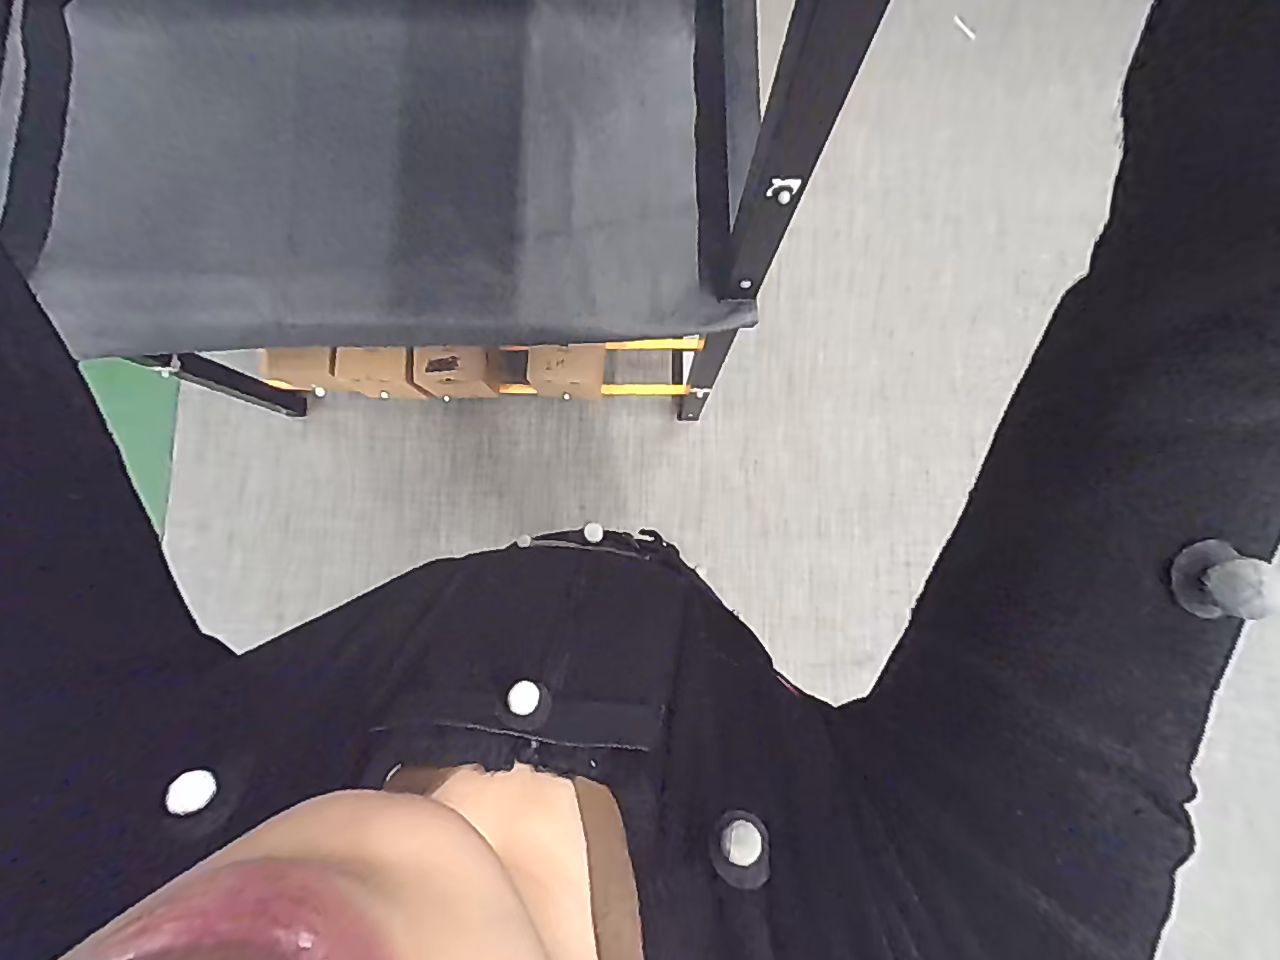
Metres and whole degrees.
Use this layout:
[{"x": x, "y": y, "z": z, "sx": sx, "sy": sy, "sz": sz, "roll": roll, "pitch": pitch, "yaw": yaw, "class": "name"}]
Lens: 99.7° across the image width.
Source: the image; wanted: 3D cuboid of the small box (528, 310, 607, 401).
[{"x": -0.178, "y": -0.312, "z": 1.379, "sx": 0.168, "sy": 0.176, "sz": 0.179, "roll": 5, "pitch": 85, "yaw": 2, "class": "small box"}]
